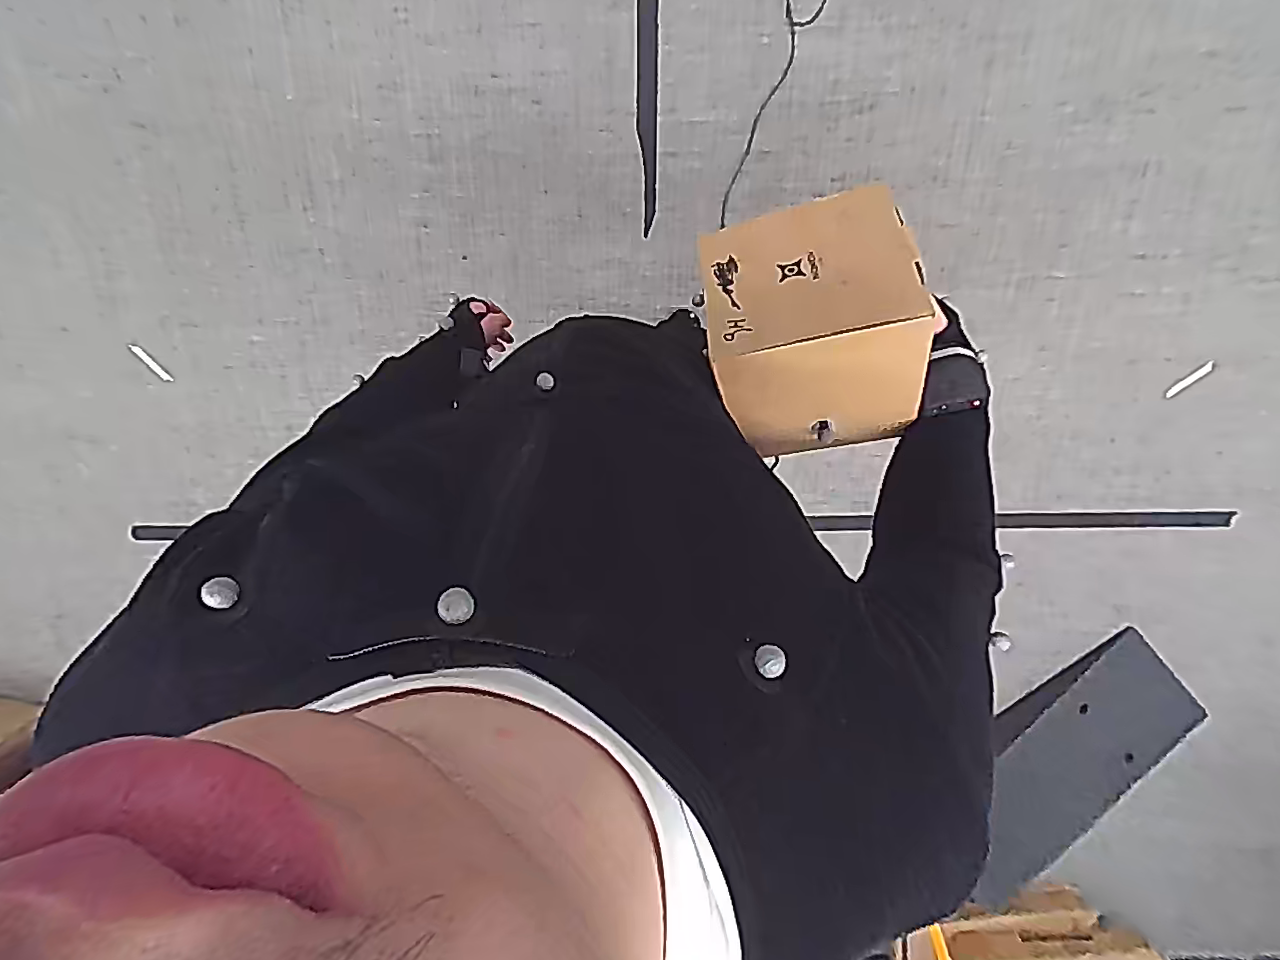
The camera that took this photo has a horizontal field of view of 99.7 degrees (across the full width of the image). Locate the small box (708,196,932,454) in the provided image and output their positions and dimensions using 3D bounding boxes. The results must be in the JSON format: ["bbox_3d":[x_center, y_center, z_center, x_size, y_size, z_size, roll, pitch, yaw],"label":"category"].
[{"bbox_3d":[0.173,-0.146,0.555,0.179,0.168,0.176,-9,148,15],"label":"small box"}]
